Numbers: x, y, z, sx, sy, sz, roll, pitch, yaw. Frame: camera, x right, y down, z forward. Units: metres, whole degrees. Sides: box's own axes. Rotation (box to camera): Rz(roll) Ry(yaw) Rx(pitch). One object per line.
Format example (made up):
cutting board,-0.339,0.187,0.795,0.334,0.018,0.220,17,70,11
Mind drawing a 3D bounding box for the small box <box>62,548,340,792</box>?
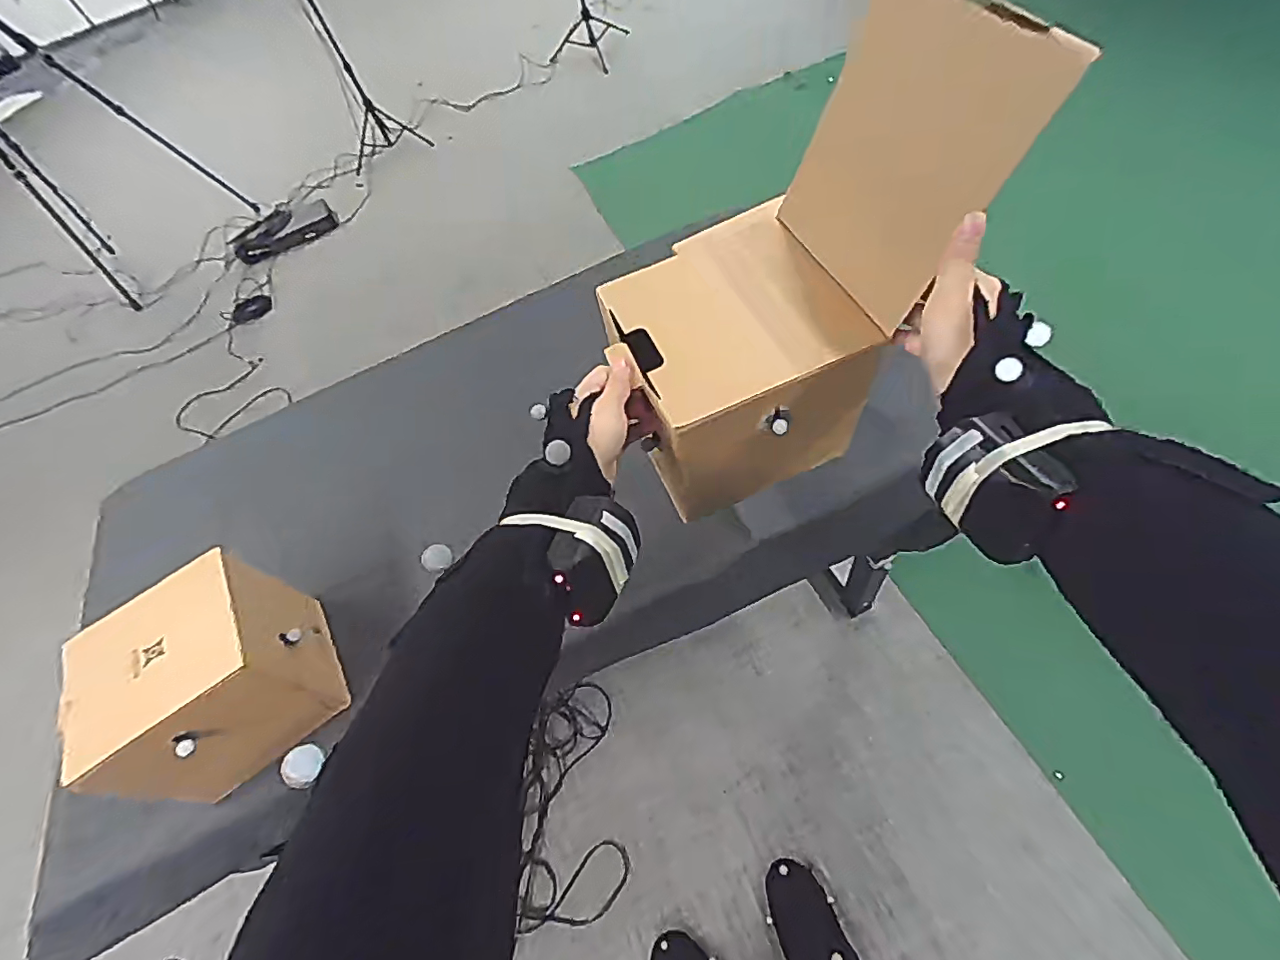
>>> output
small box,-0.466,0.213,0.598,0.179,0.176,0.168,-36,56,-10
